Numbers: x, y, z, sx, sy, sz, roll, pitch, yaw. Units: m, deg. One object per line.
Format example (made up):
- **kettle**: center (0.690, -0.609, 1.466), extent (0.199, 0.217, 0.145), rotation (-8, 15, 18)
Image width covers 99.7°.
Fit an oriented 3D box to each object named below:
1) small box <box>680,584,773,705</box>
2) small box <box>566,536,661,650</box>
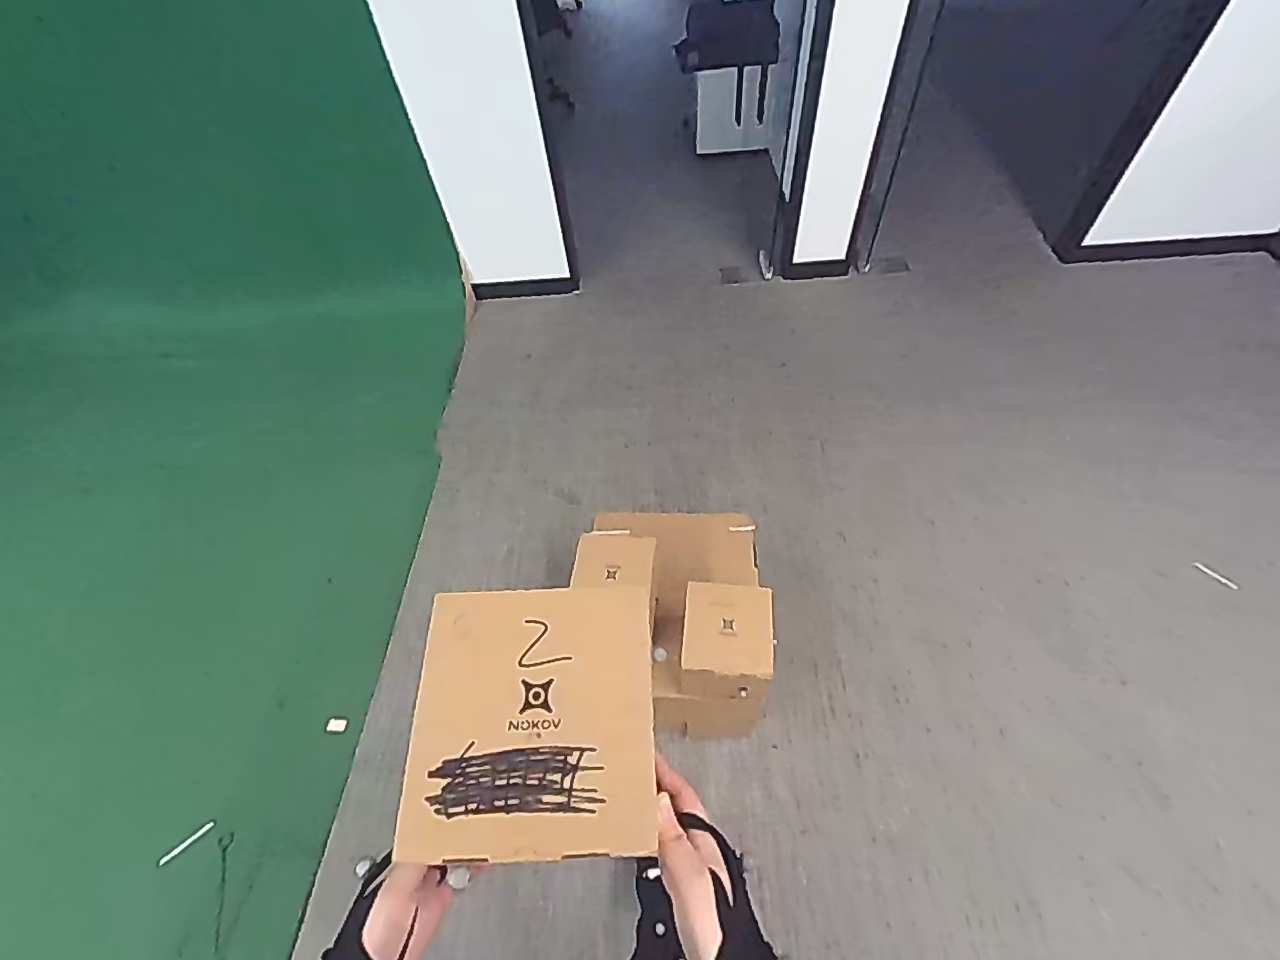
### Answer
- **small box**: center (0.169, 0.328, 1.066), extent (0.168, 0.176, 0.179), rotation (5, 52, 7)
- **small box**: center (-0.047, 0.240, 1.153), extent (0.168, 0.176, 0.179), rotation (2, 51, 9)
